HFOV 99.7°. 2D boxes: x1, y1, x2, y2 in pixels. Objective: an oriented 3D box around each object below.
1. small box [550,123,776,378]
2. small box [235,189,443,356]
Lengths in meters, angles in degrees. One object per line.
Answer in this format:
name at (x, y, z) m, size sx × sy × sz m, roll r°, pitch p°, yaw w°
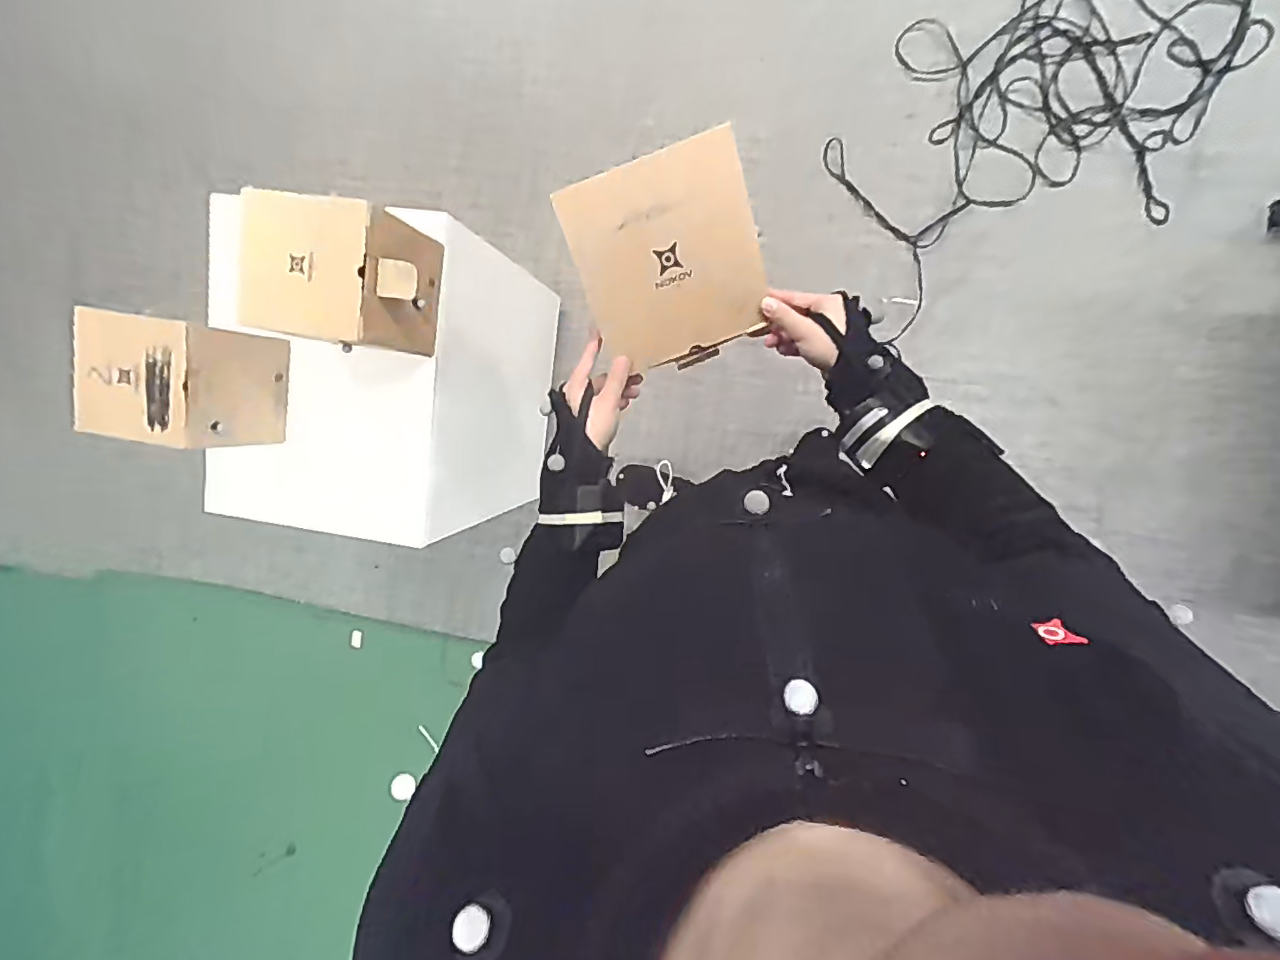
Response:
small box at (0.024, -0.230, 0.558) m, size 0.168 × 0.176 × 0.179 m, roll -19°, pitch 114°, yaw 5°
small box at (-0.395, -0.267, 0.728) m, size 0.179 × 0.176 × 0.168 m, roll 9°, pitch 97°, yaw 8°
